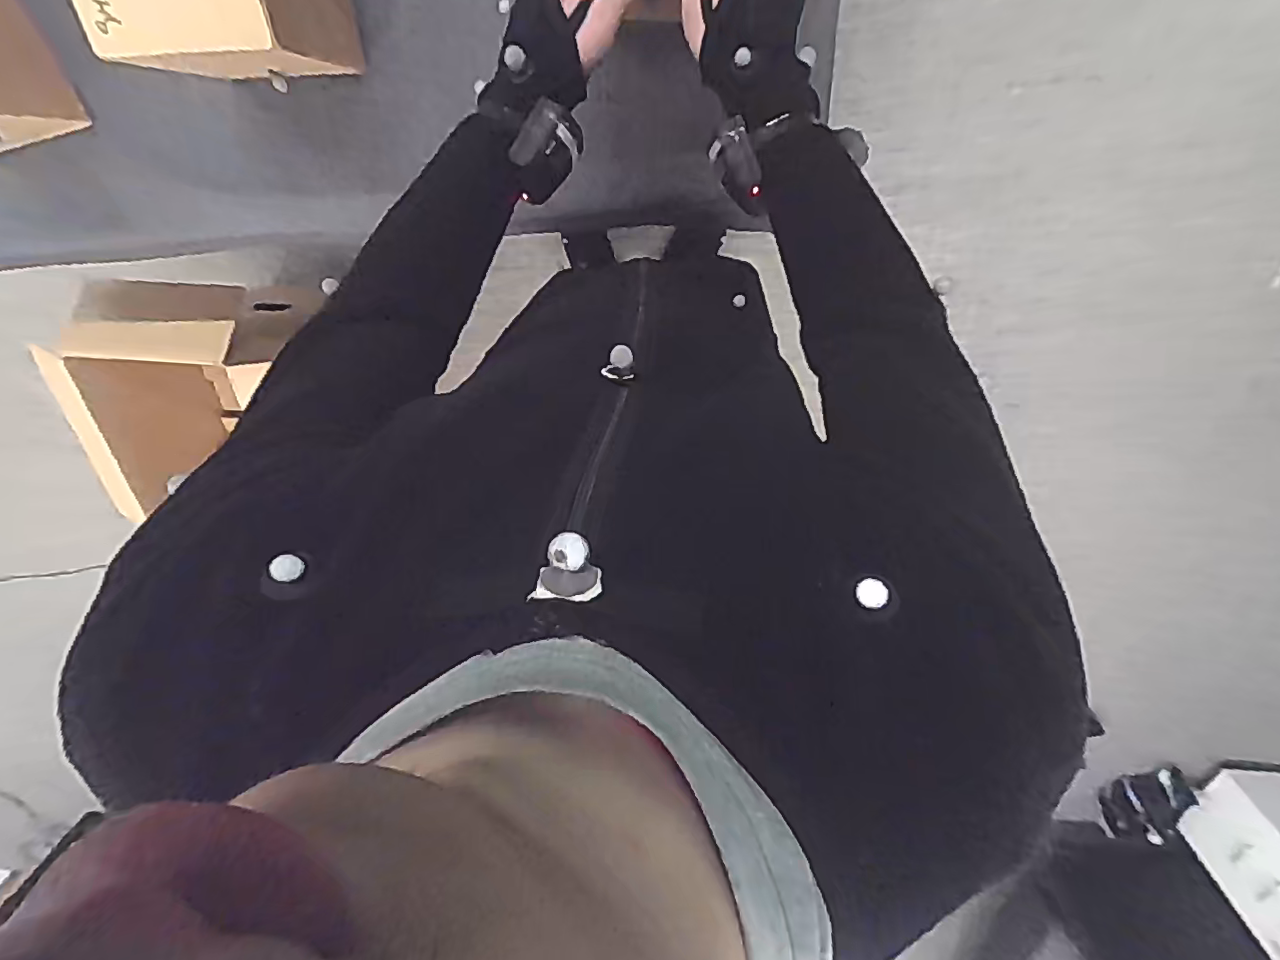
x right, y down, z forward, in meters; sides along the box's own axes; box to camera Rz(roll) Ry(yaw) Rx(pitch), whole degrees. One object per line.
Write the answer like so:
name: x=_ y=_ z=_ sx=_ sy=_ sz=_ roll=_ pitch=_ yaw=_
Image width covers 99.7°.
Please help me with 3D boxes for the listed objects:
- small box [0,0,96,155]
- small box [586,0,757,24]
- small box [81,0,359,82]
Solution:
small box: x=-0.762 y=-0.457 z=0.573 sx=0.168 sy=0.176 sz=0.179 roll=-9 pitch=118 yaw=9
small box: x=0.029 y=-0.511 z=0.460 sx=0.179 sy=0.176 sz=0.168 roll=4 pitch=122 yaw=2
small box: x=-0.399 y=-0.491 z=0.516 sx=0.179 sy=0.176 sz=0.168 roll=1 pitch=121 yaw=4
